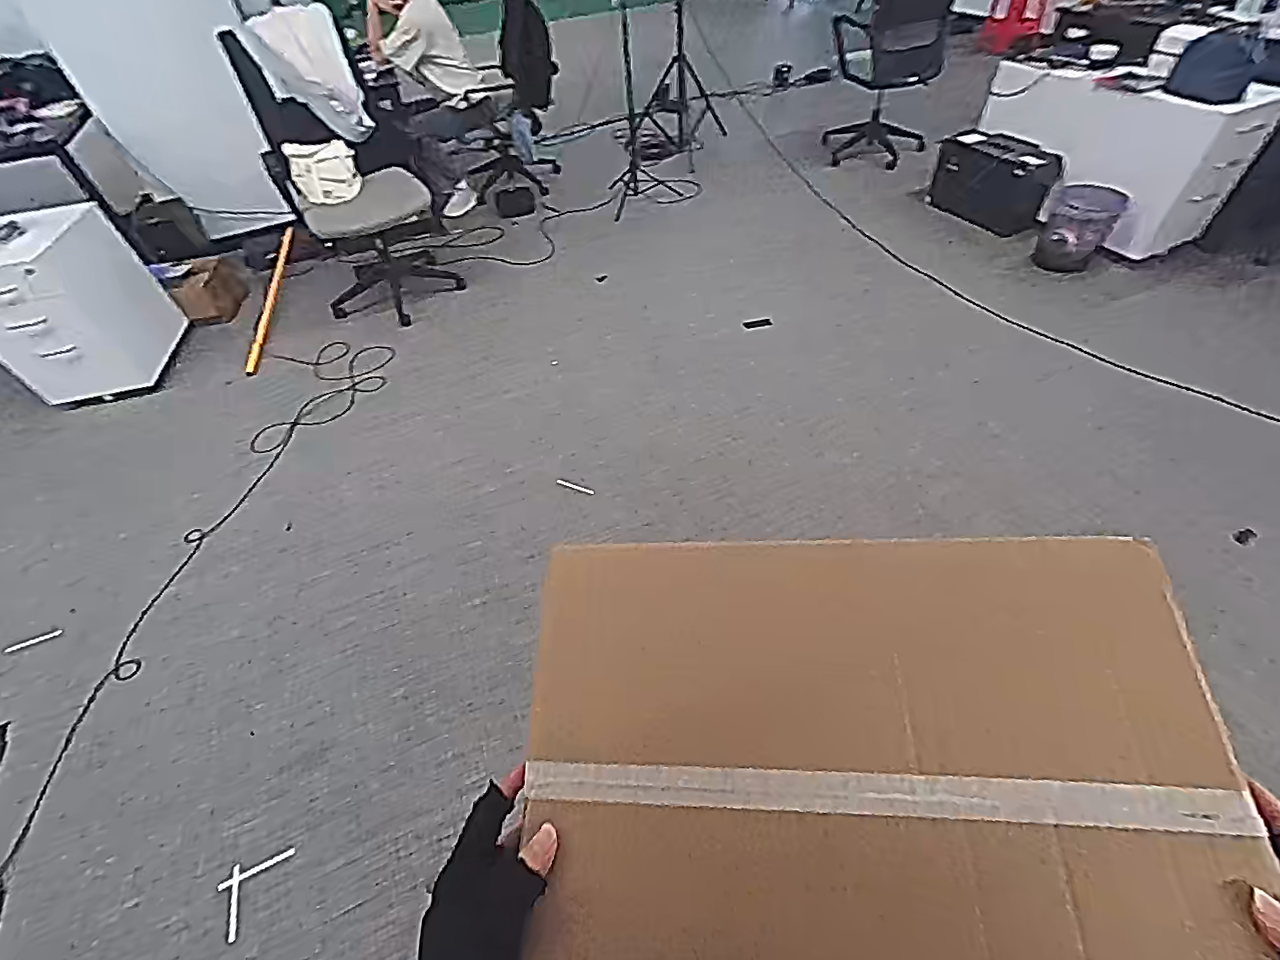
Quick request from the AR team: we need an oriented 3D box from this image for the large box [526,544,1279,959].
[{"bbox_3d":[0.149,0.252,0.462,0.408,0.320,0.320,-2,66,8],"label":"large box"}]
